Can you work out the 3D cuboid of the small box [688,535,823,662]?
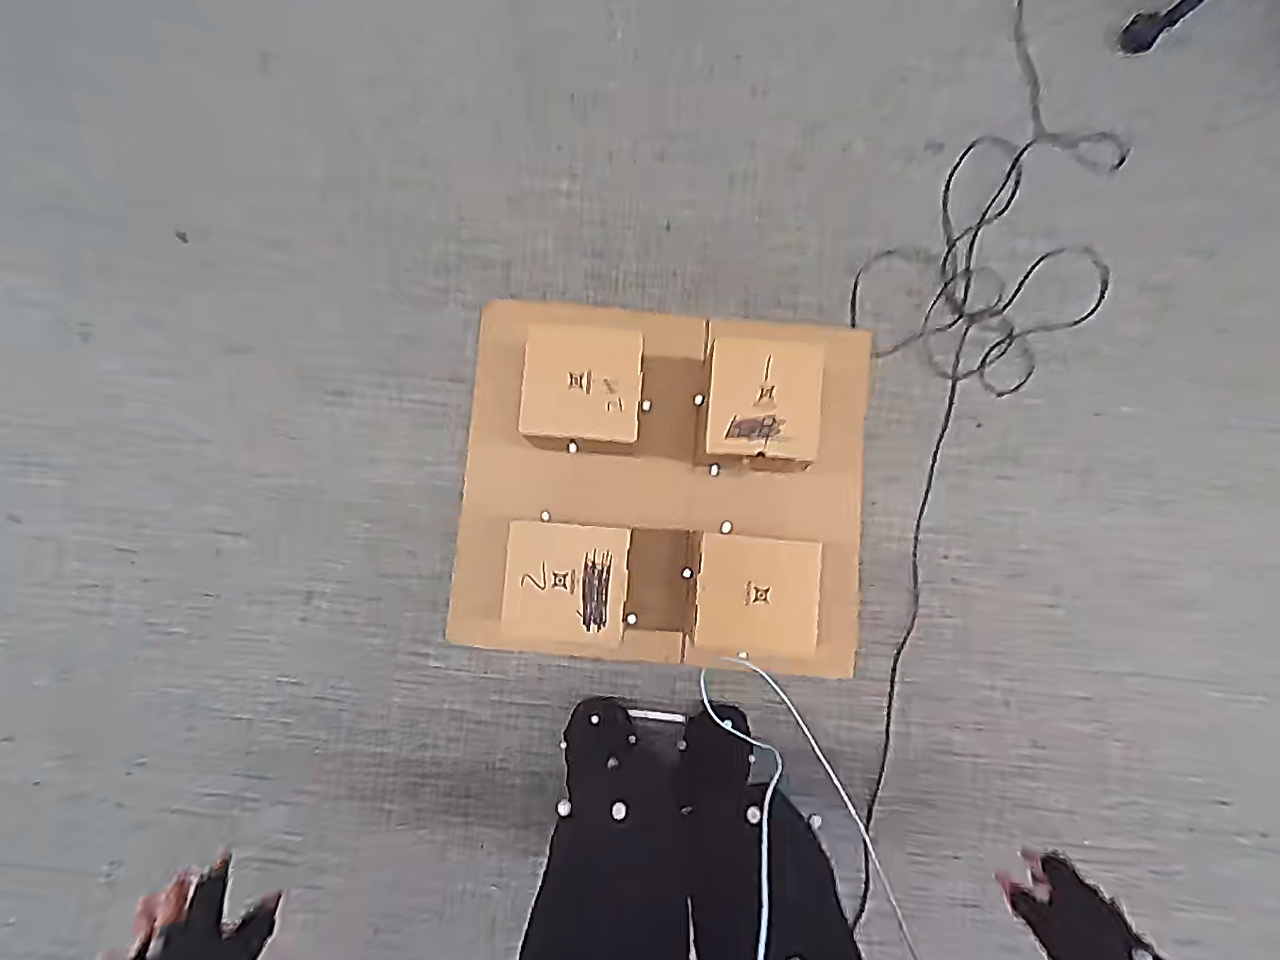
[{"bbox_3d":[0.173,0.177,0.856,0.179,0.176,0.168,5,84,3],"label":"small box"}]
